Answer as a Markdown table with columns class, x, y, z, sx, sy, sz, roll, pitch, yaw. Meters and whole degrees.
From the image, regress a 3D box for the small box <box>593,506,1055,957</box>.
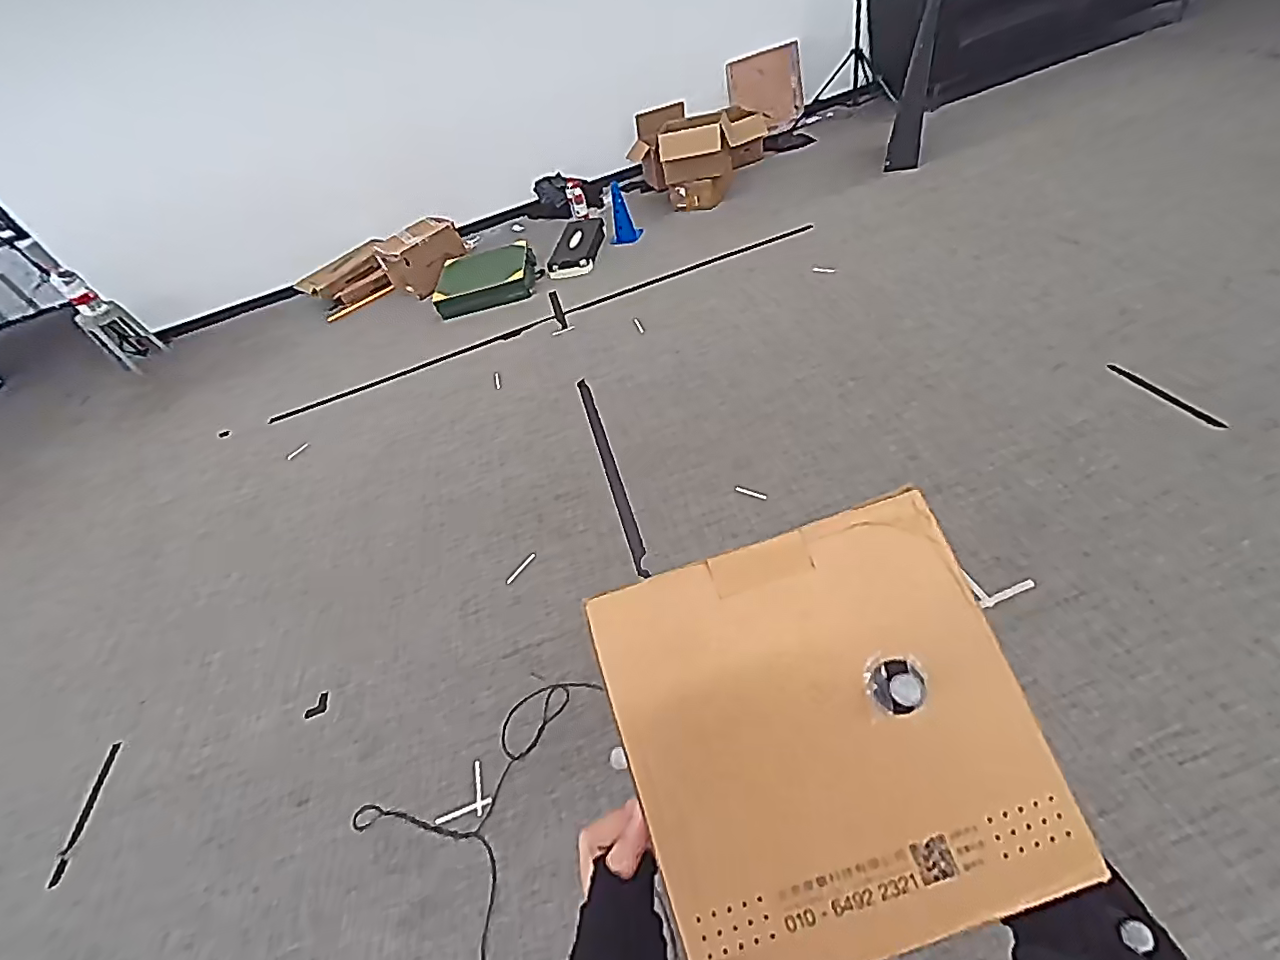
| class | x | y | z | sx | sy | sz | roll | pitch | yaw |
| --- | --- | --- | --- | --- | --- | --- | --- | --- | --- |
| small box | 0.087 | 0.134 | 0.322 | 0.168 | 0.179 | 0.176 | -19 | 75 | 1 |
